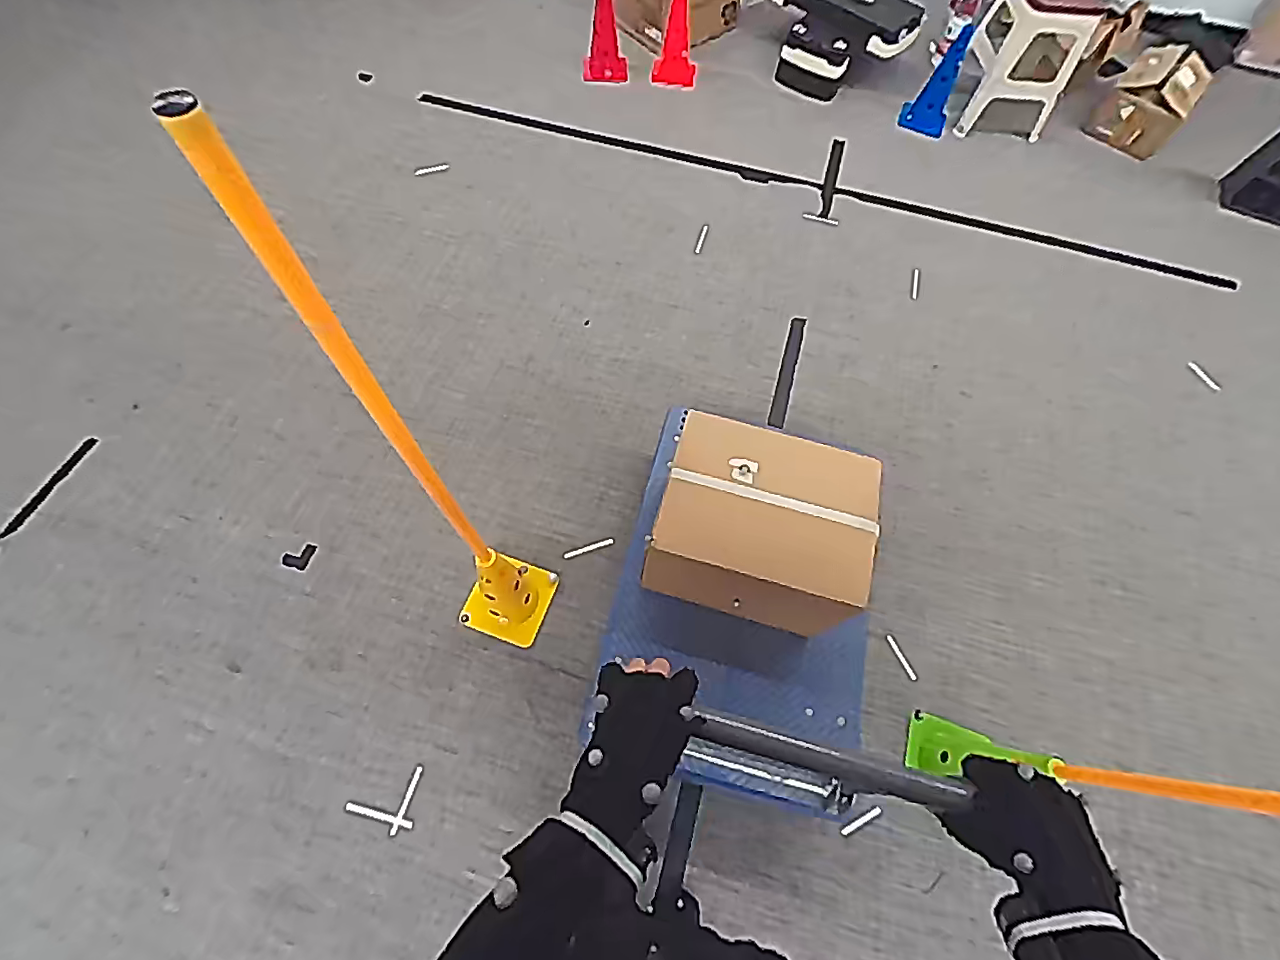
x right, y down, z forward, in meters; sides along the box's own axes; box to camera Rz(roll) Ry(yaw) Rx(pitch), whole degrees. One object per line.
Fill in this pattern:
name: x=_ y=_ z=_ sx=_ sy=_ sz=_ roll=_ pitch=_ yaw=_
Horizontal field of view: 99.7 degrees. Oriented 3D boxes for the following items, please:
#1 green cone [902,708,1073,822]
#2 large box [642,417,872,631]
green cone: x=0.743 y=0.601 z=1.134 sx=0.202 sy=0.368 sz=0.200 roll=20 pitch=65 yaw=5
large box: x=0.239 y=0.111 z=1.183 sx=0.408 sy=0.320 sz=0.320 roll=15 pitch=65 yaw=5
